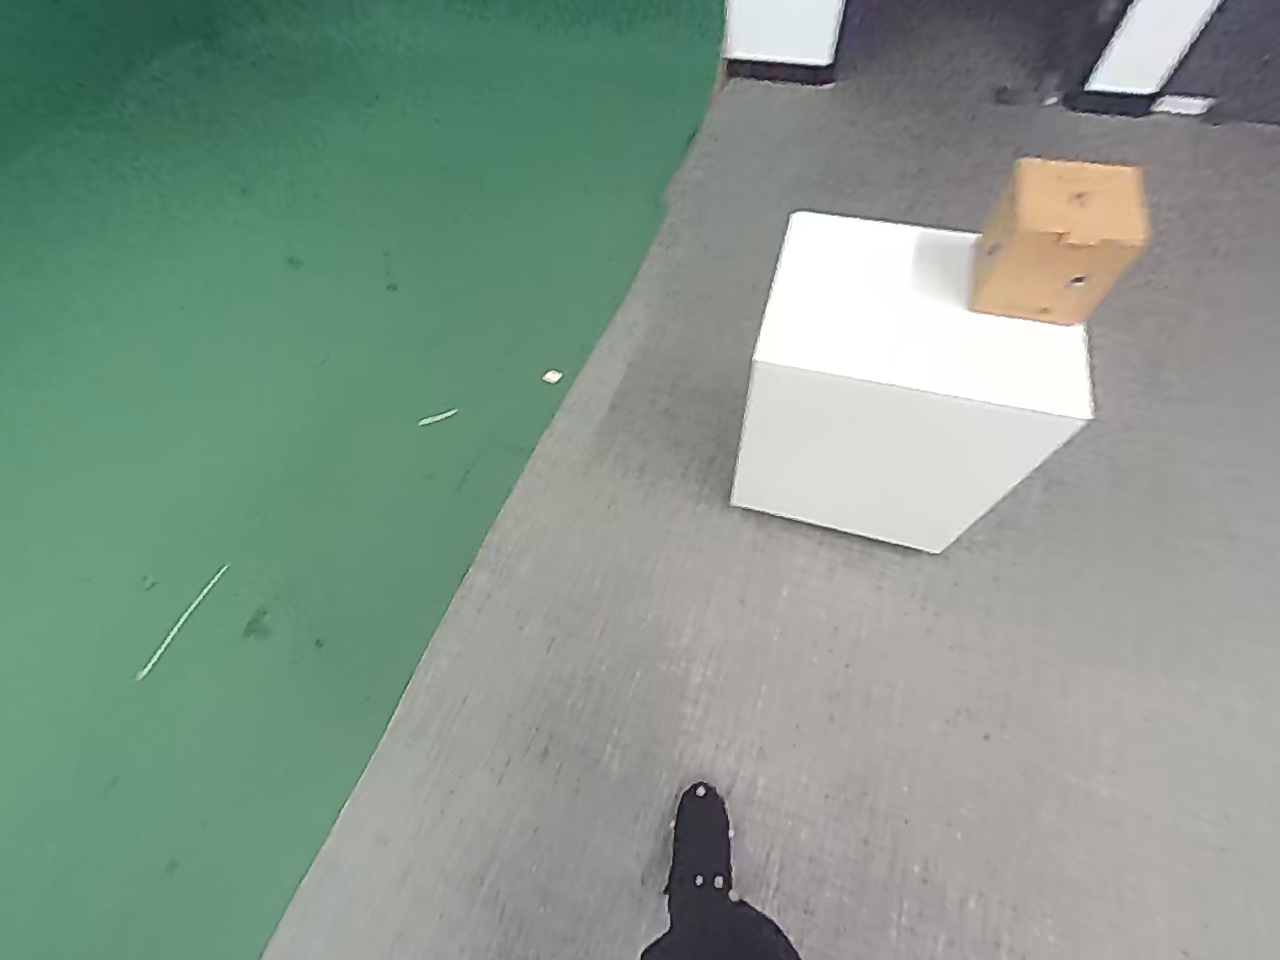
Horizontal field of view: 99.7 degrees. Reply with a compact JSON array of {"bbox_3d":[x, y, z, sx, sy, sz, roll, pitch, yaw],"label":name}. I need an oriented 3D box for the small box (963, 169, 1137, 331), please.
[{"bbox_3d":[0.653,-0.370,0.882,0.168,0.176,0.179,14,62,11],"label":"small box"}]
